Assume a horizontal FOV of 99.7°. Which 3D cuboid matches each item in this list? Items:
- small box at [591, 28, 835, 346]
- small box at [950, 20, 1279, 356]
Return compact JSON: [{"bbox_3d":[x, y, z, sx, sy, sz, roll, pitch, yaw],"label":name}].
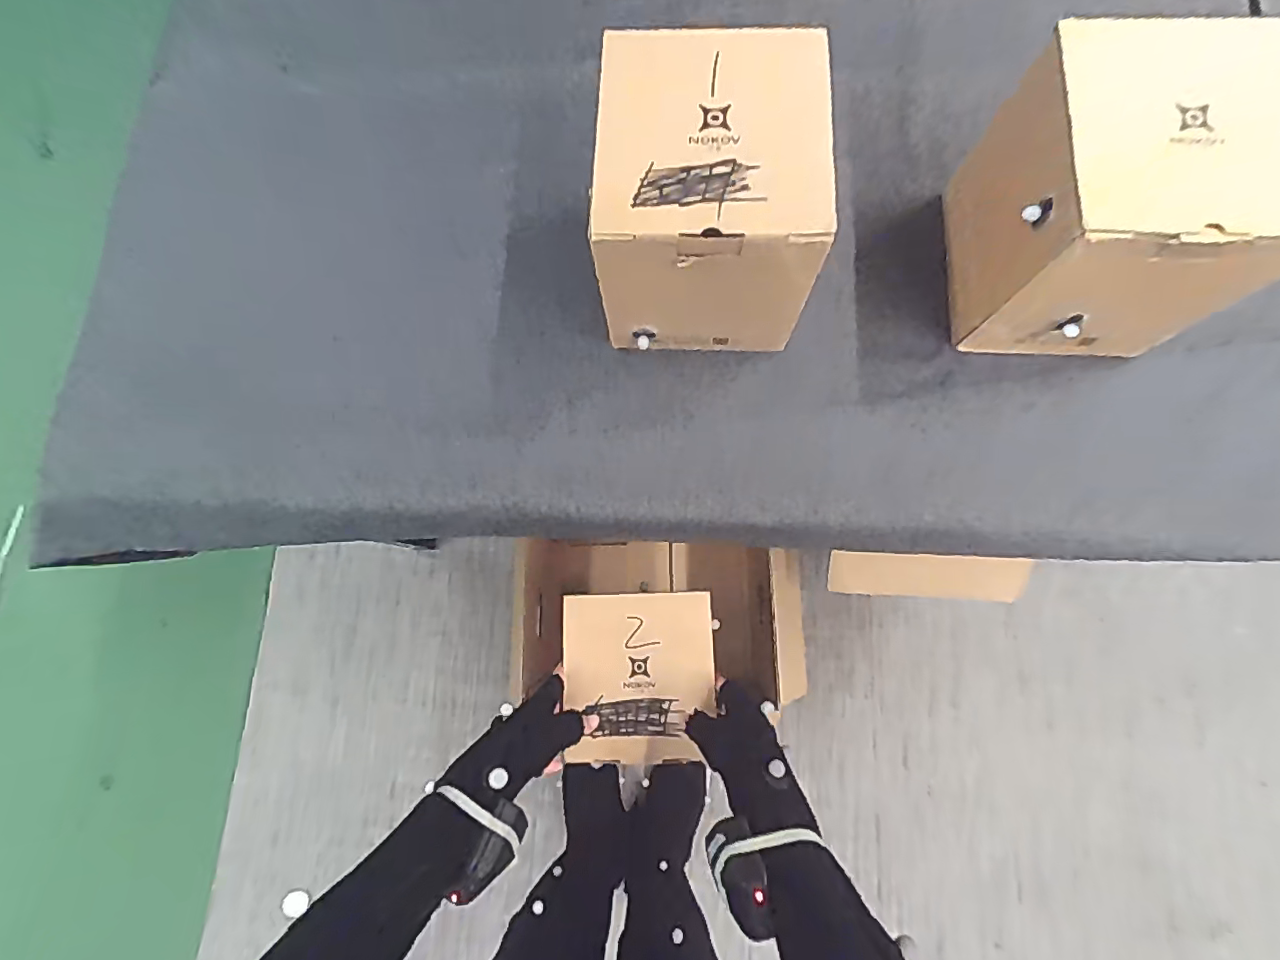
[{"bbox_3d":[0.057,-0.226,0.455,0.168,0.176,0.179,2,77,3],"label":"small box"},{"bbox_3d":[0.377,-0.220,0.440,0.168,0.176,0.179,2,78,4],"label":"small box"}]
